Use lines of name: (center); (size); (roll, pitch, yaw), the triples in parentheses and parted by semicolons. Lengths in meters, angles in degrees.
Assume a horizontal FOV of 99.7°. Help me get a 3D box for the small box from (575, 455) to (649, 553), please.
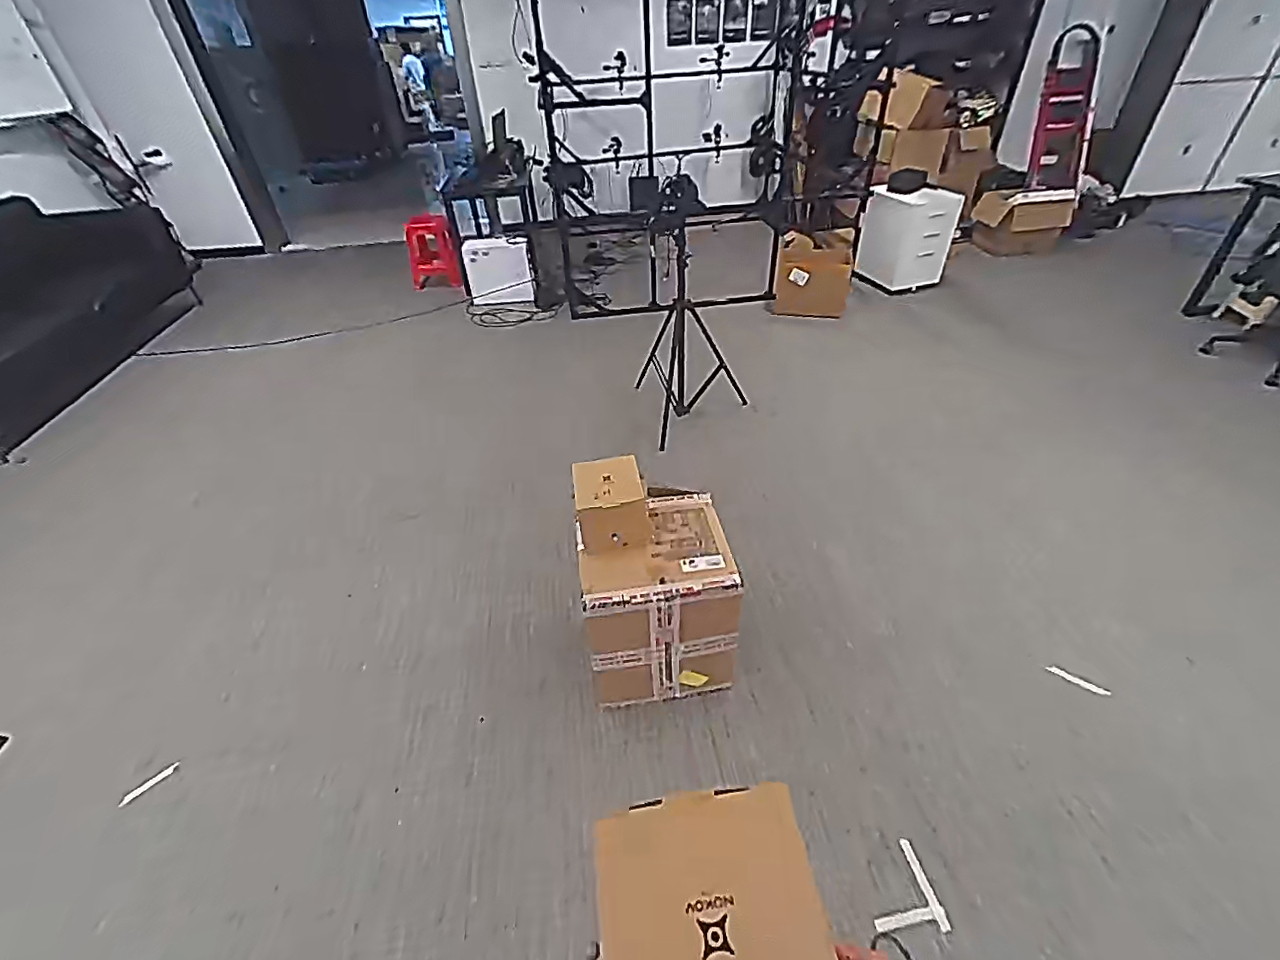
small box: (-0.073, 0.063, 1.391); (0.168, 0.176, 0.179); (-9, 43, -4)
